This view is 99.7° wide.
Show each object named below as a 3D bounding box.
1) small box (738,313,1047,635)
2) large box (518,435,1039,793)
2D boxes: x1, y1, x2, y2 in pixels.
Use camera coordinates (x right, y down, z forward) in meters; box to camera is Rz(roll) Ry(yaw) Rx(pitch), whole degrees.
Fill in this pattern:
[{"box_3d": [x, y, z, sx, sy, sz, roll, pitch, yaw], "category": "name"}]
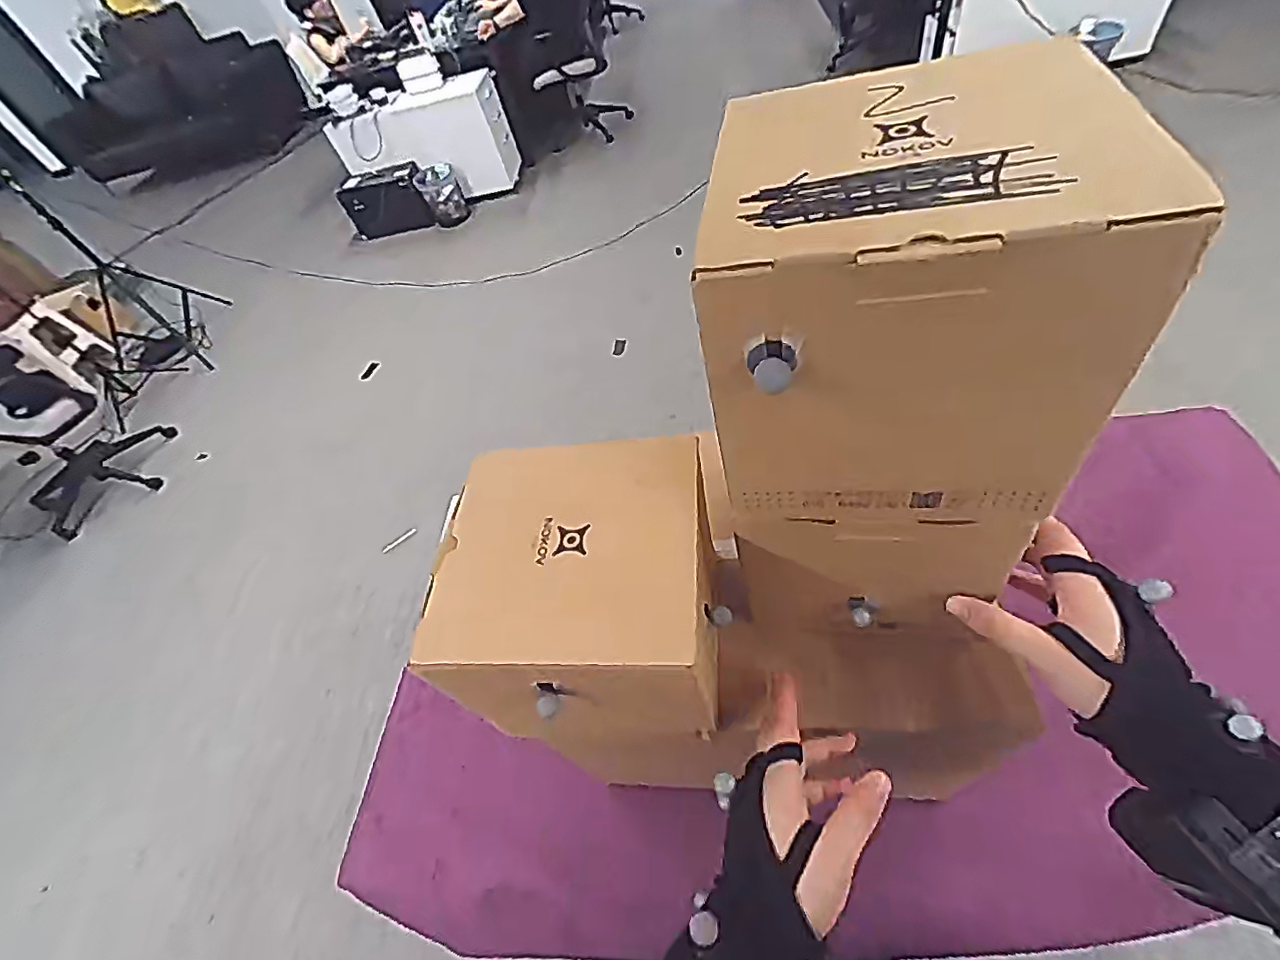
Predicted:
[{"box_3d": [0.170, -0.002, 0.417, 0.168, 0.176, 0.179, 0, 53, 17], "category": "small box"}, {"box_3d": [0.130, 0.161, 0.620, 0.408, 0.320, 0.320, -6, 50, 12], "category": "large box"}]
